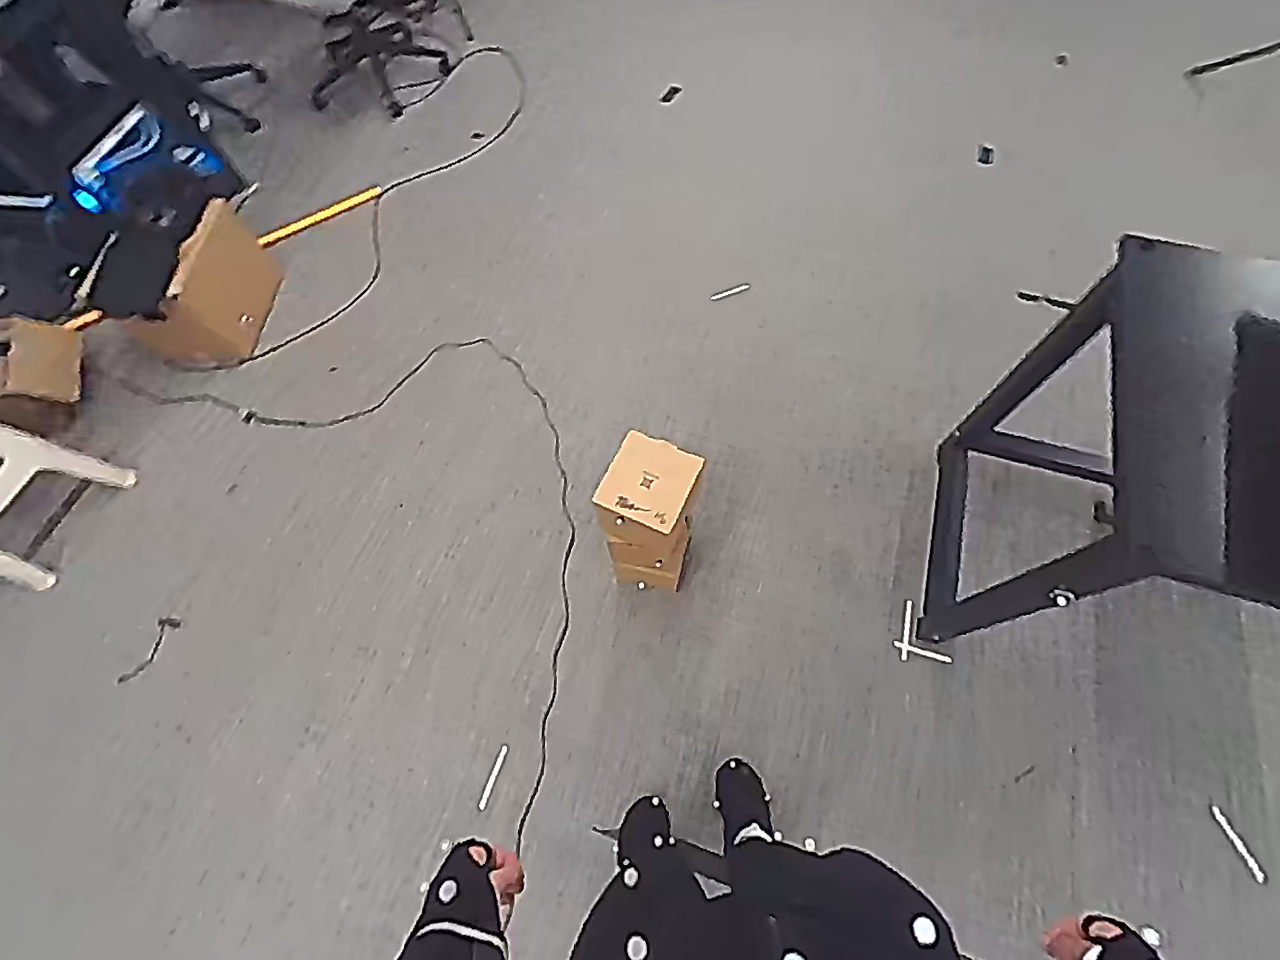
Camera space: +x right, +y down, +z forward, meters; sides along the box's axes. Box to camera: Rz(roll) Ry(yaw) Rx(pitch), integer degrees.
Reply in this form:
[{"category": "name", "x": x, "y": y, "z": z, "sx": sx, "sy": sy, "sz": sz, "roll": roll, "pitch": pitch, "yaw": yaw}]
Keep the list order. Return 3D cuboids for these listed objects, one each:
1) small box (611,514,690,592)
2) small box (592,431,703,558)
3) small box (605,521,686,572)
[{"category": "small box", "x": 0.030, "y": 0.177, "z": 1.415, "sx": 0.168, "sy": 0.176, "sz": 0.179, "roll": 12, "pitch": 67, "yaw": 9}, {"category": "small box", "x": 0.017, "y": 0.034, "z": 1.122, "sx": 0.168, "sy": 0.176, "sz": 0.179, "roll": 22, "pitch": 67, "yaw": 12}, {"category": "small box", "x": 0.021, "y": 0.103, "z": 1.271, "sx": 0.168, "sy": 0.176, "sz": 0.179, "roll": 9, "pitch": 65, "yaw": 6}]
